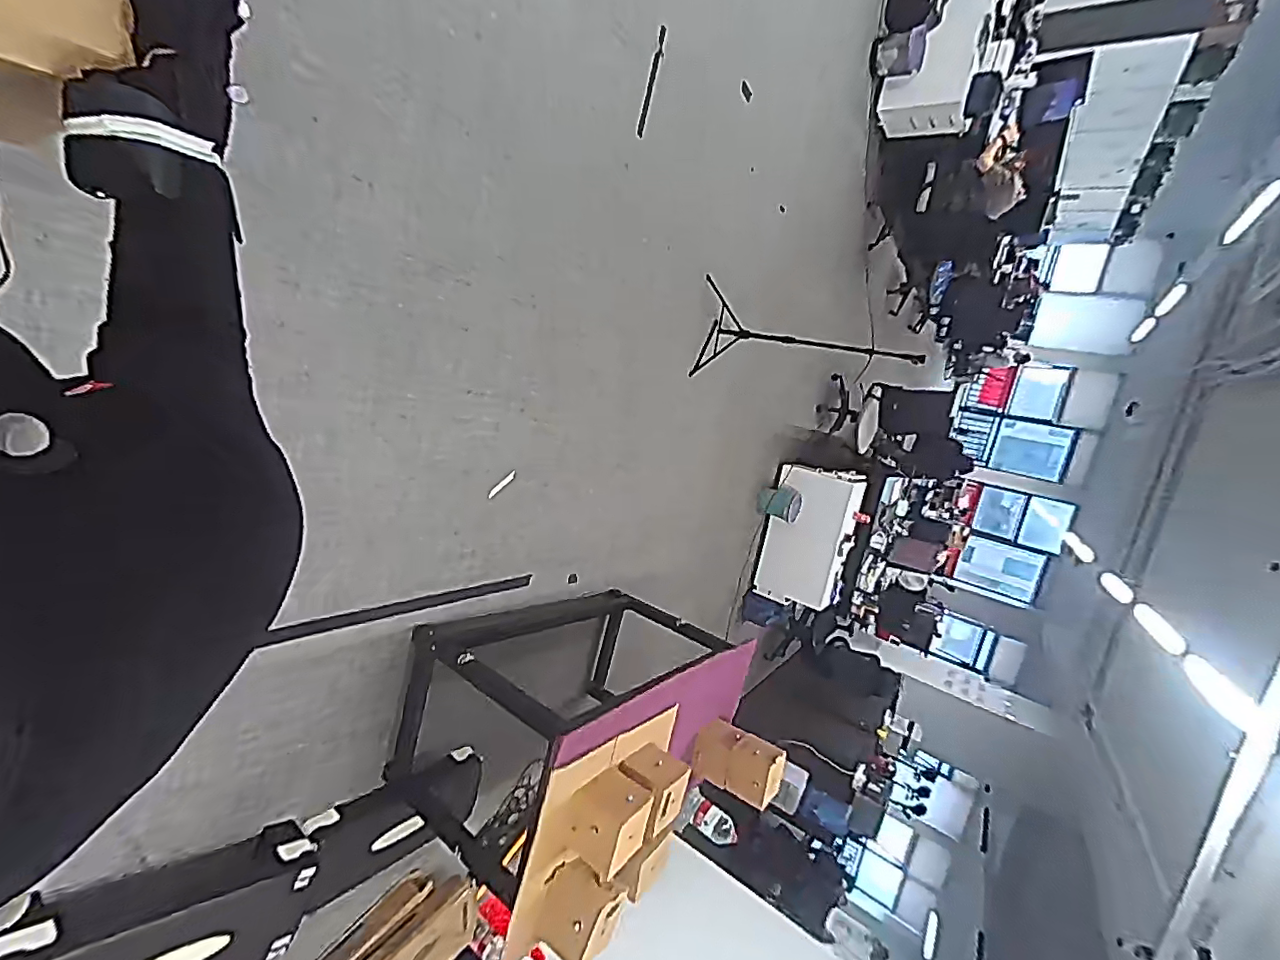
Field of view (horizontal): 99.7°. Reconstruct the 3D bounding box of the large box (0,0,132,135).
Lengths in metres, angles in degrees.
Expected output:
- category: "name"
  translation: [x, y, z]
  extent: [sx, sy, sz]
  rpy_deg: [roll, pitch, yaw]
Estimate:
- category: "large box"
  translation: [-0.566, -0.420, 0.253]
  extent: [0.408, 0.320, 0.320]
  rpy_deg: [-11, 114, -57]
